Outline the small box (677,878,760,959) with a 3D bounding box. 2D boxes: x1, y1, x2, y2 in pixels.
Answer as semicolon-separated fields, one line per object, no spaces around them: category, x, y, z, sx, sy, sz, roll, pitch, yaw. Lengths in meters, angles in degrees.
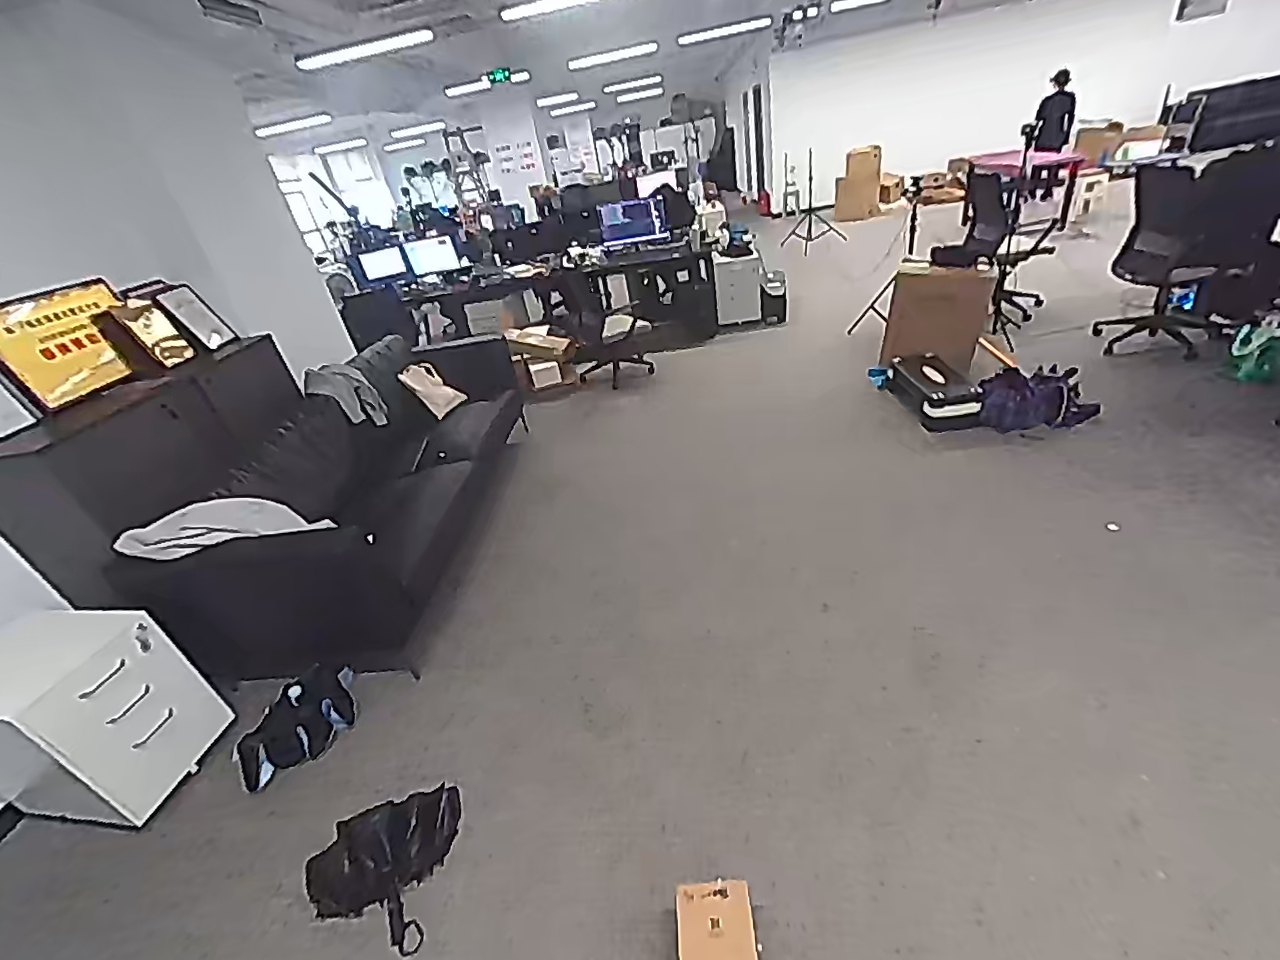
small box;0.179;1.031;1.210;0.168;0.176;0.179;-8;33;6
